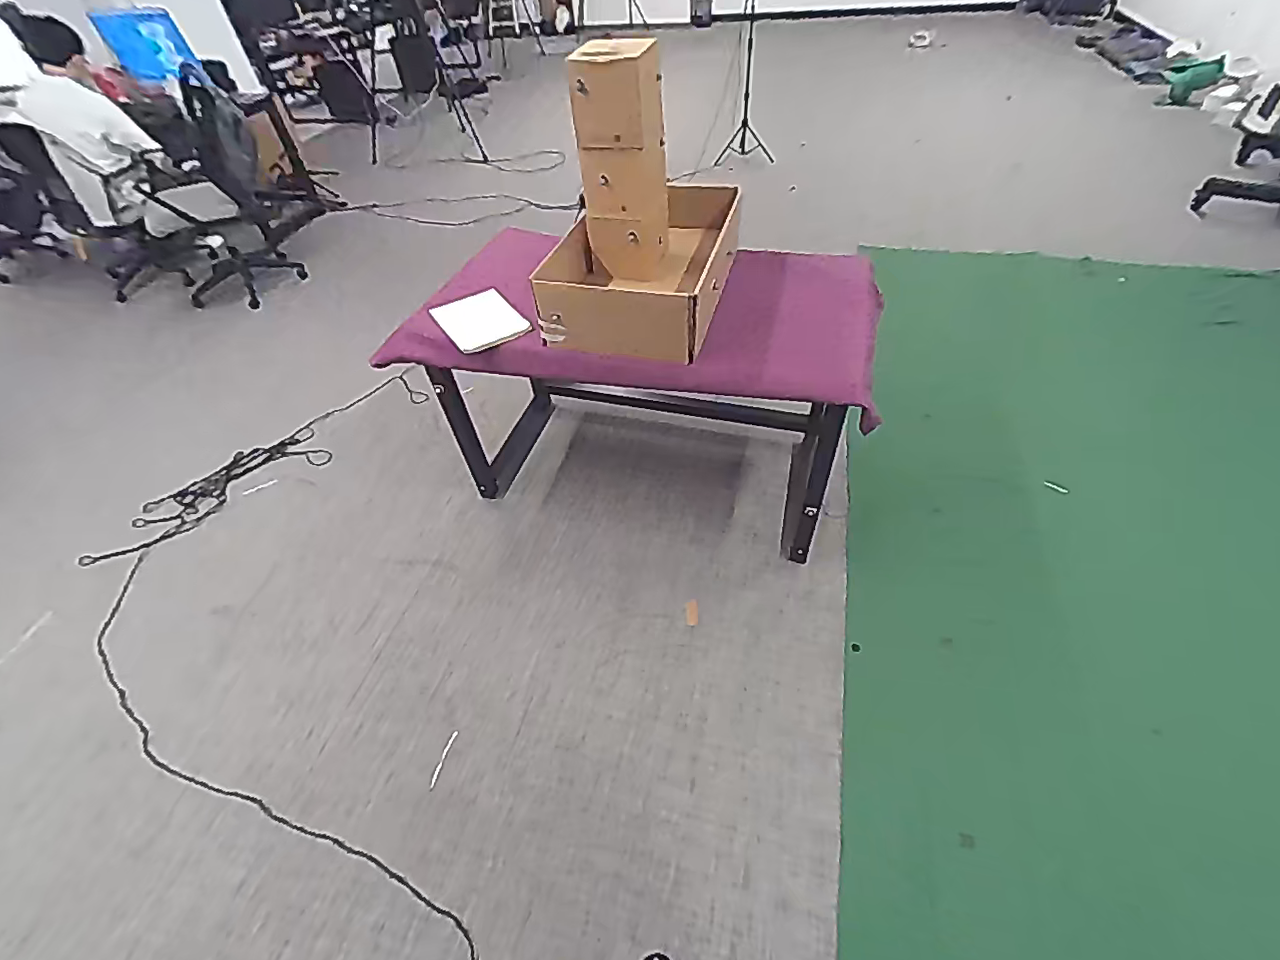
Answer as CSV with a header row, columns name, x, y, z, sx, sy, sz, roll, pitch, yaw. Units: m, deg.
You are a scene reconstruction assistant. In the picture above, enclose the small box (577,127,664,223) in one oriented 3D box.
name,x,y,z,sx,sy,sz,roll,pitch,yaw
small box,-0.040,-0.773,1.371,0.168,0.176,0.179,11,51,15
